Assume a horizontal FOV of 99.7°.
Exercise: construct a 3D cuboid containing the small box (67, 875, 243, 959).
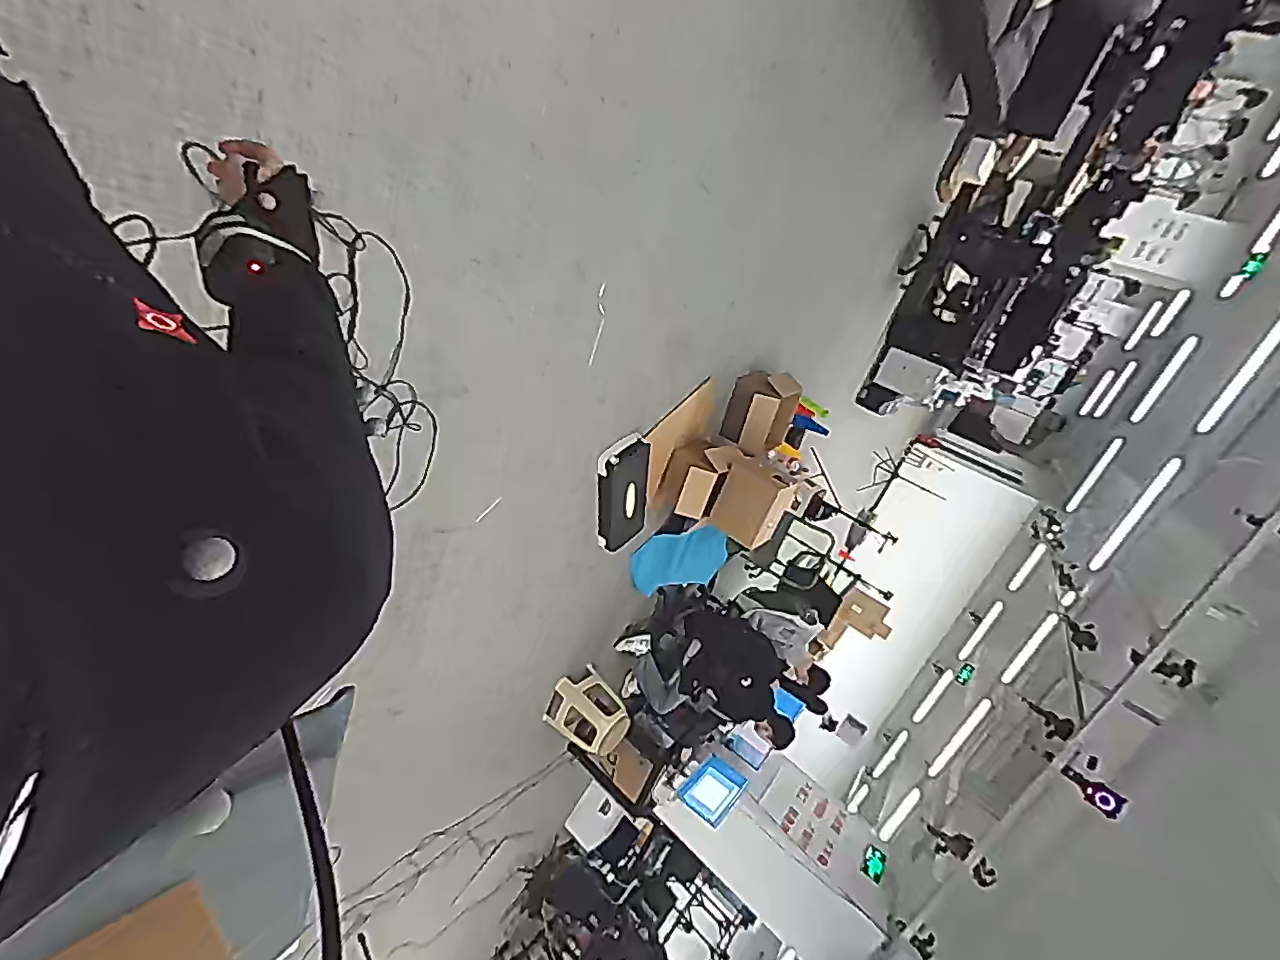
[{"bbox_3d":[-0.734,0.760,0.810,0.179,0.176,0.168,-14,131,-54],"label":"small box"}]
